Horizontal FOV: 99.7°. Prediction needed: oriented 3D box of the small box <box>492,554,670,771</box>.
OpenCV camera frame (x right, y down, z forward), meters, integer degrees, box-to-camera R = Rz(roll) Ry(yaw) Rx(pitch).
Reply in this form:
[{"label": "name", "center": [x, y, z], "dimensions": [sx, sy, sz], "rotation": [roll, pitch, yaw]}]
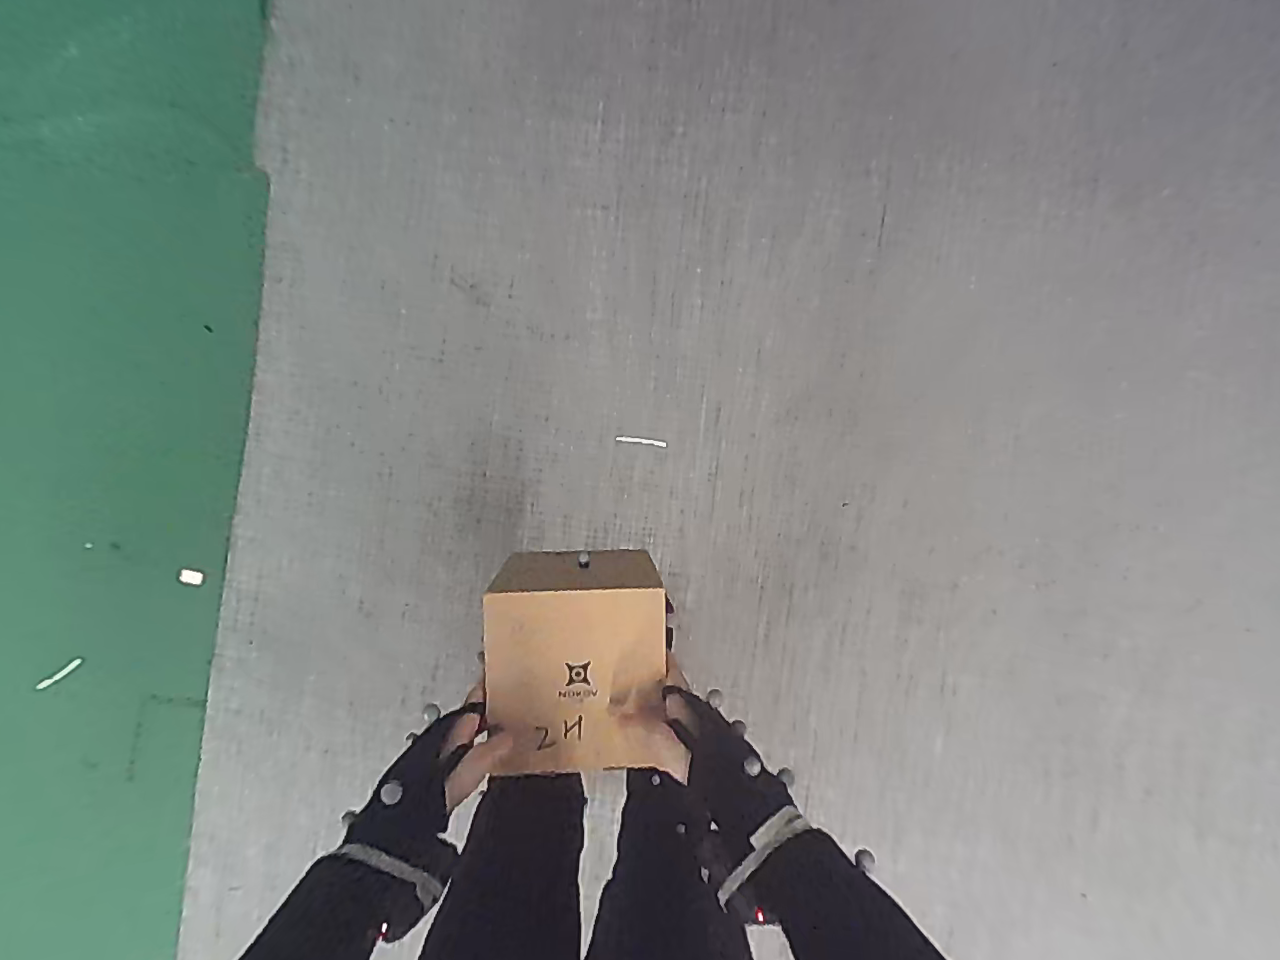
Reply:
[{"label": "small box", "center": [-0.061, 0.178, 0.581], "dimensions": [0.168, 0.176, 0.179], "rotation": [0, 95, -4]}]
